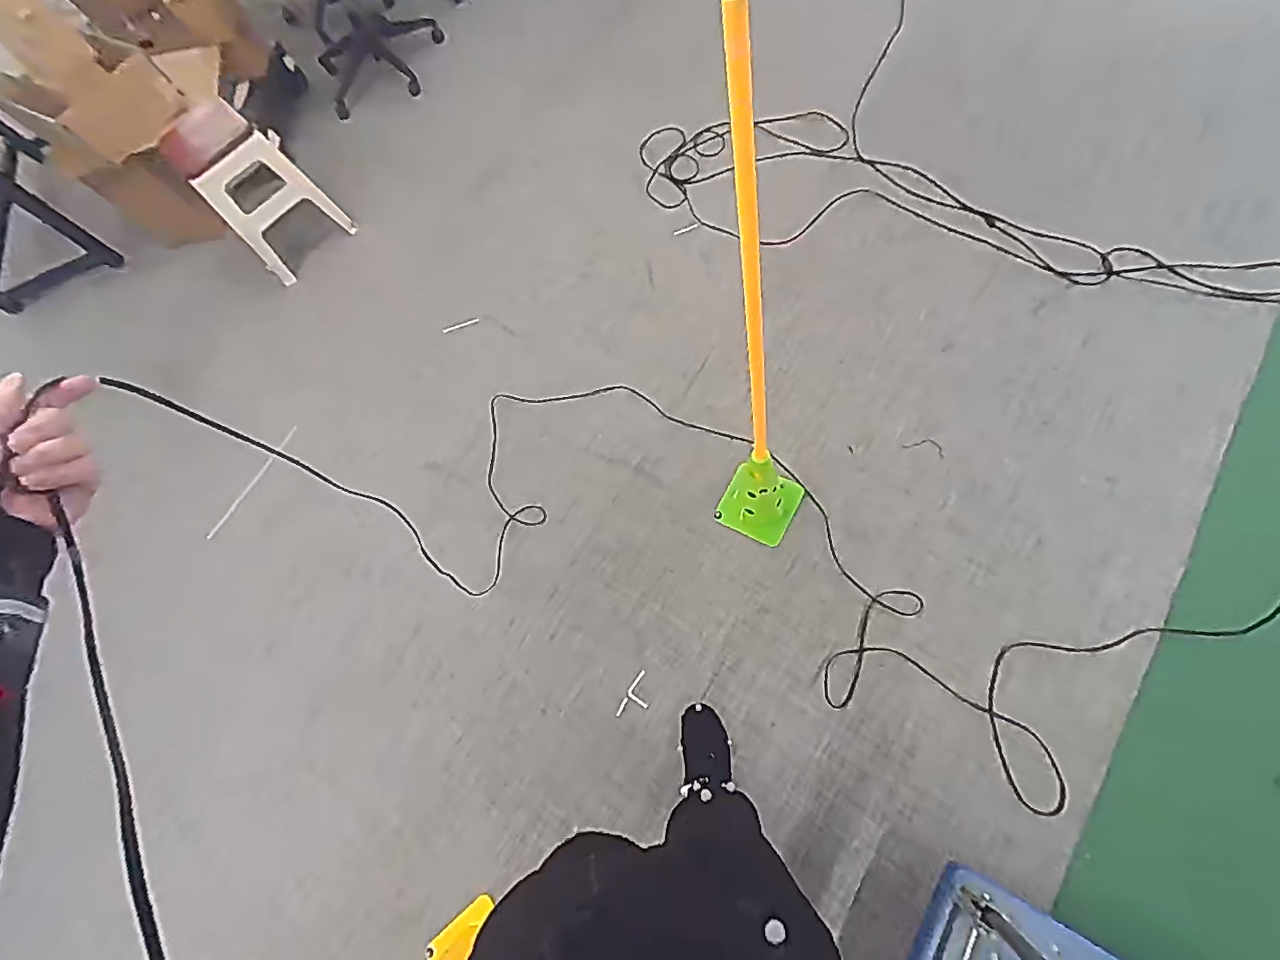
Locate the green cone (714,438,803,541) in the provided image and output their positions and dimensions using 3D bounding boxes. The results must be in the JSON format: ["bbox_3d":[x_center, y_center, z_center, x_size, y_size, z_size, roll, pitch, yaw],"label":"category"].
[{"bbox_3d":[0.306,-0.007,1.366,0.200,0.368,0.202,25,75,18],"label":"green cone"}]
